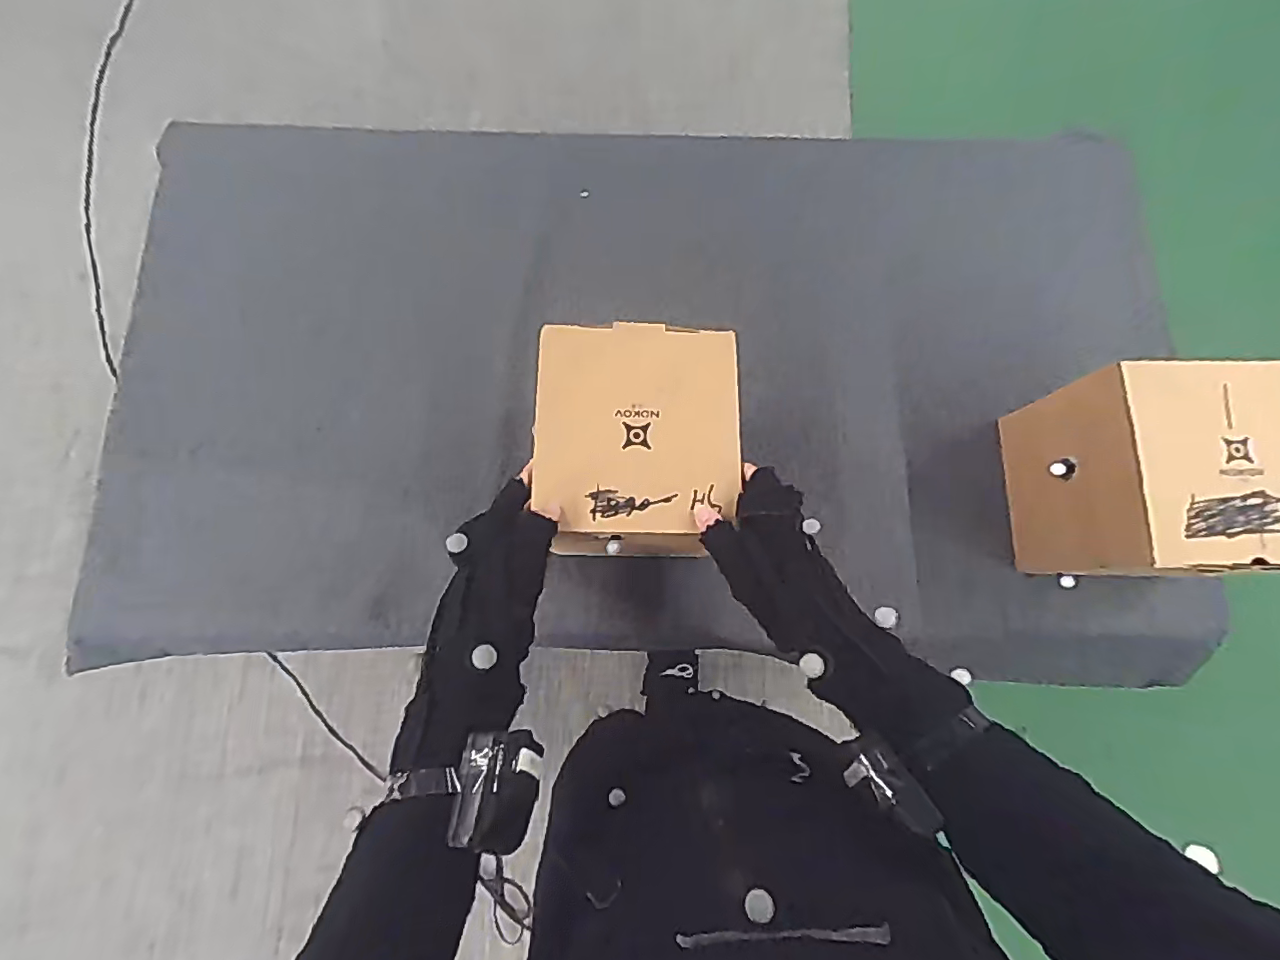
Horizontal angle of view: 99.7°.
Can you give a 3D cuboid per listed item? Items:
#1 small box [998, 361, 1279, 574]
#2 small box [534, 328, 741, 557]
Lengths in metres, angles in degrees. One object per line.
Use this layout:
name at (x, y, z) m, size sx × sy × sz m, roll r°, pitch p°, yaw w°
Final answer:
small box at (0.485, 0.000, 0.523) m, size 0.168 × 0.176 × 0.179 m, roll 1°, pitch 77°, yaw 1°
small box at (-0.003, -0.024, 0.519) m, size 0.168 × 0.176 × 0.179 m, roll 2°, pitch 77°, yaw -2°
